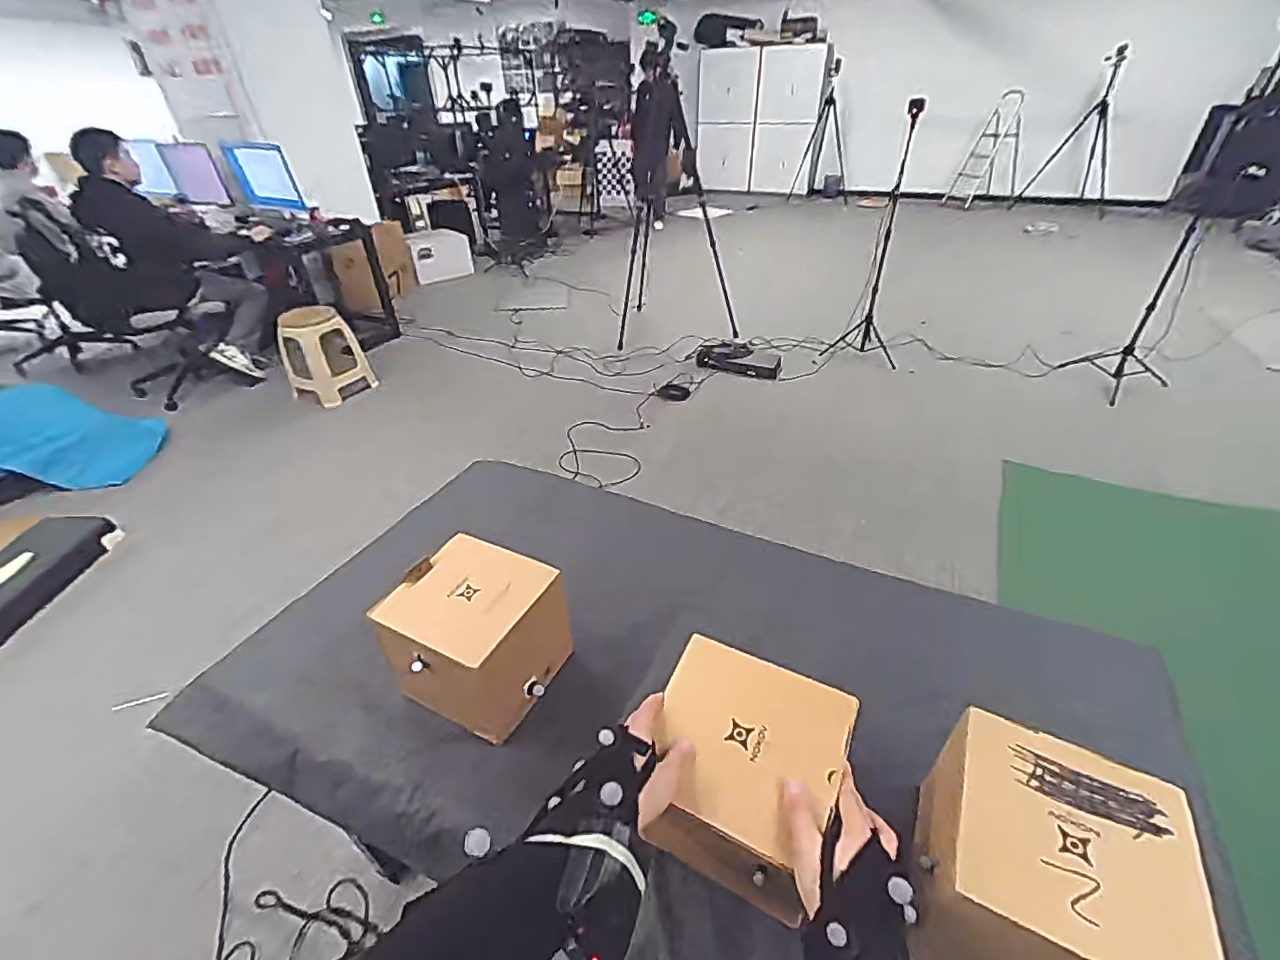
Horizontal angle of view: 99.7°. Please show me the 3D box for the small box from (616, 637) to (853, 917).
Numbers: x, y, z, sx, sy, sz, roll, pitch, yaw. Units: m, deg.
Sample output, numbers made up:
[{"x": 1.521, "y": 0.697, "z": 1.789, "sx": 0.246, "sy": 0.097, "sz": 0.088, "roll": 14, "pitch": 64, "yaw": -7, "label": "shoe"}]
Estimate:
[{"x": 0.096, "y": 0.298, "z": 0.549, "sx": 0.179, "sy": 0.176, "sz": 0.168, "roll": 16, "pitch": 46, "yaw": 23, "label": "small box"}]

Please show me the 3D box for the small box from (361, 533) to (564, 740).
[{"x": -0.218, "y": 0.203, "z": 0.709, "sx": 0.179, "sy": 0.176, "sz": 0.168, "roll": 17, "pitch": 40, "yaw": 22, "label": "small box"}]
